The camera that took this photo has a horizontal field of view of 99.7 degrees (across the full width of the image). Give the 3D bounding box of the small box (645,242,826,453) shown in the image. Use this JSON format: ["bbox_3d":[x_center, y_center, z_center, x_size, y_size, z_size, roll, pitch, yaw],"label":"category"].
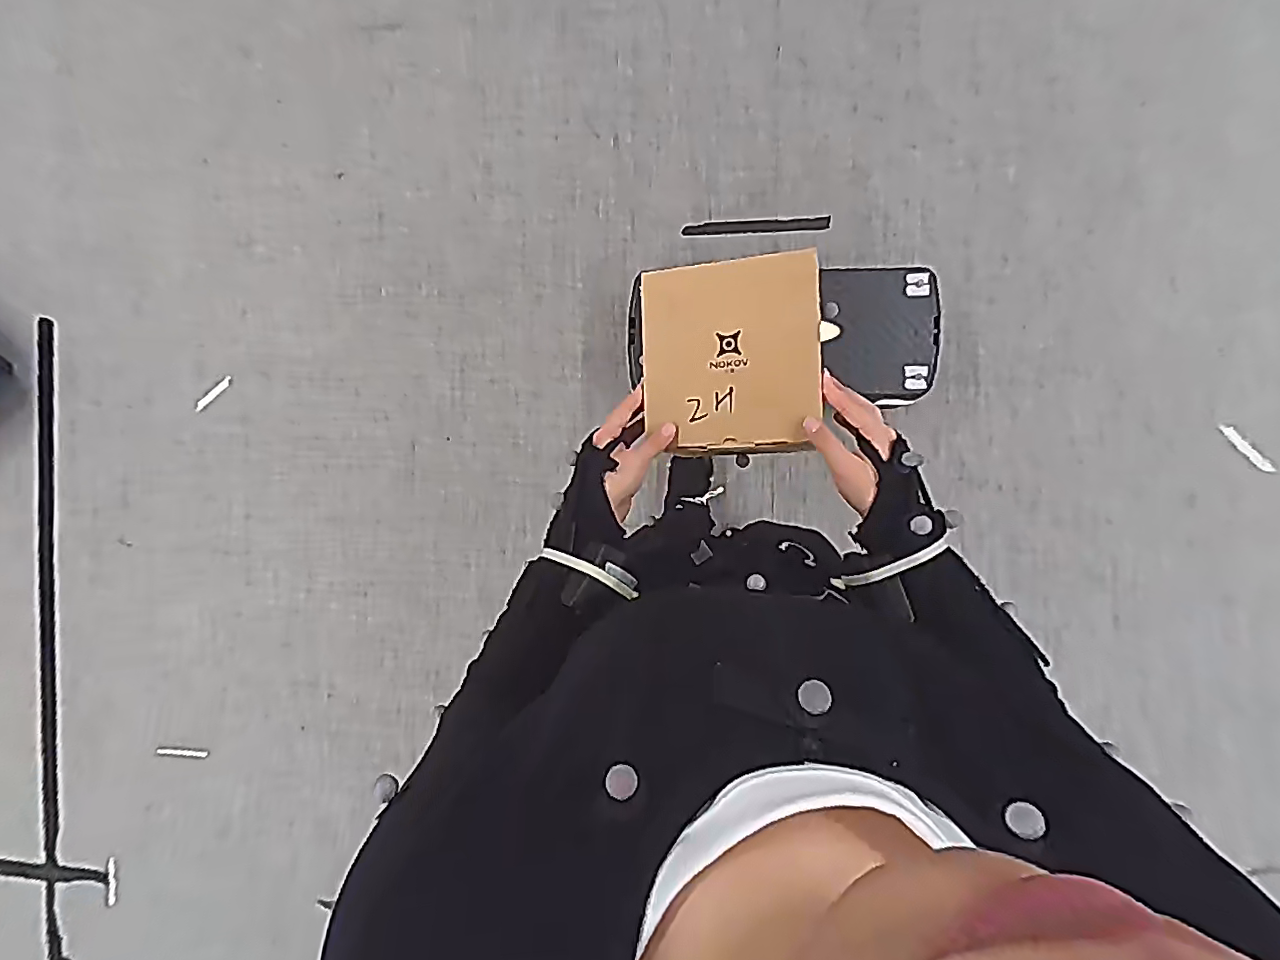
[{"bbox_3d":[0.106,-0.123,0.574,0.168,0.176,0.179,-1,90,17],"label":"small box"}]

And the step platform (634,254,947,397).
[{"bbox_3d":[0.326,-0.348,1.252,0.684,0.204,0.286,1,91,6],"label":"step platform"}]
